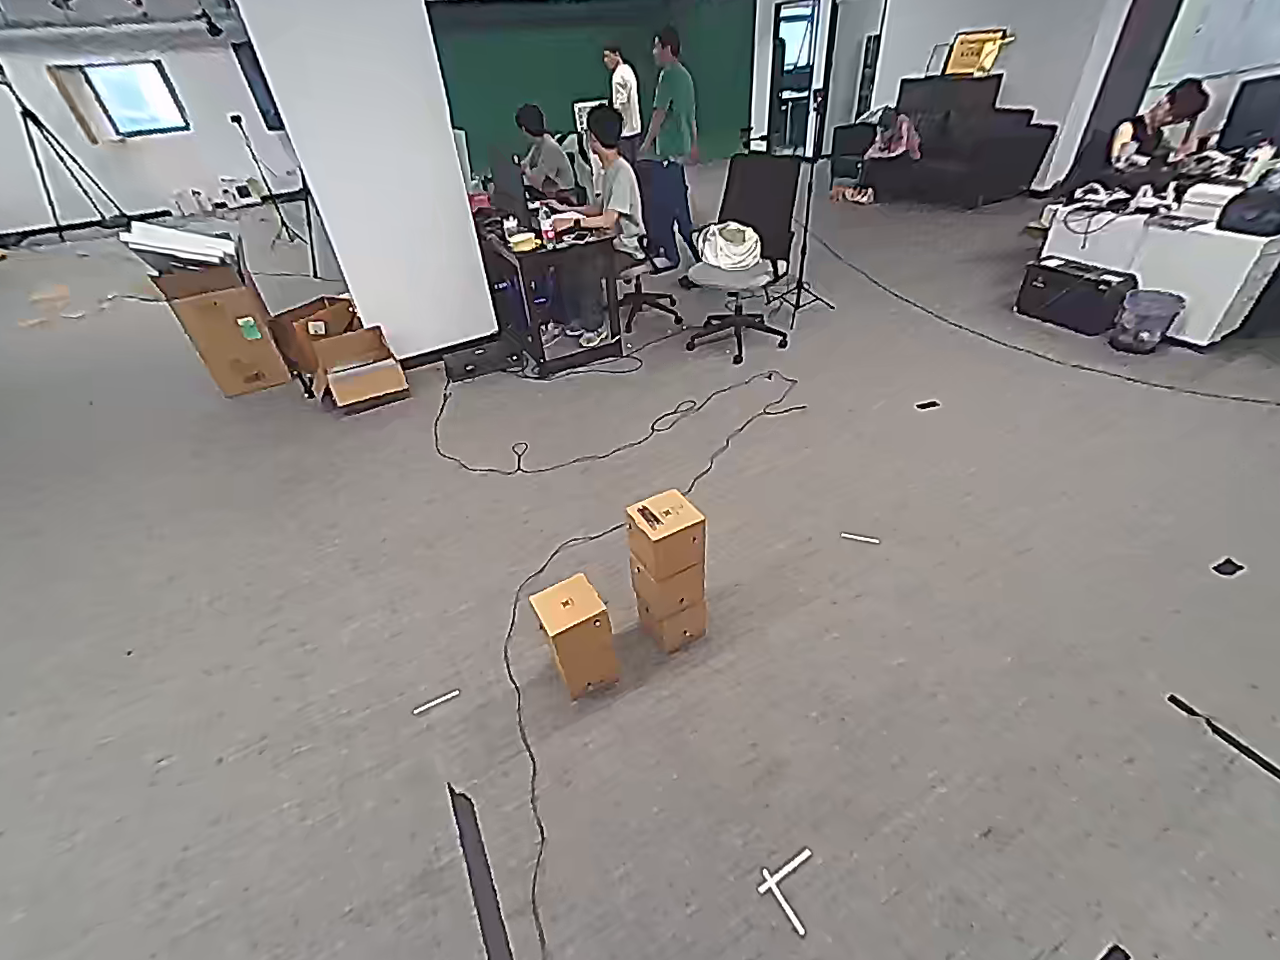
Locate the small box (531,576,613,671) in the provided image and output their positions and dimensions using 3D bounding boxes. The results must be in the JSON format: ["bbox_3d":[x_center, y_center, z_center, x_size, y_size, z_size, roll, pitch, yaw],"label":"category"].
[{"bbox_3d":[-0.194,0.420,1.575,0.179,0.176,0.168,-23,41,-21],"label":"small box"}]

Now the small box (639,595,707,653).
[{"bbox_3d":[0.105,0.431,1.786,0.168,0.176,0.179,-23,41,-21],"label":"small box"}]

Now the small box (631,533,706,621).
[{"bbox_3d":[0.086,0.303,1.685,0.179,0.176,0.168,-22,40,-22],"label":"small box"}]

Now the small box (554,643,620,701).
[{"bbox_3d":[-0.175,0.544,1.677,0.168,0.176,0.179,-21,41,-18],"label":"small box"}]
